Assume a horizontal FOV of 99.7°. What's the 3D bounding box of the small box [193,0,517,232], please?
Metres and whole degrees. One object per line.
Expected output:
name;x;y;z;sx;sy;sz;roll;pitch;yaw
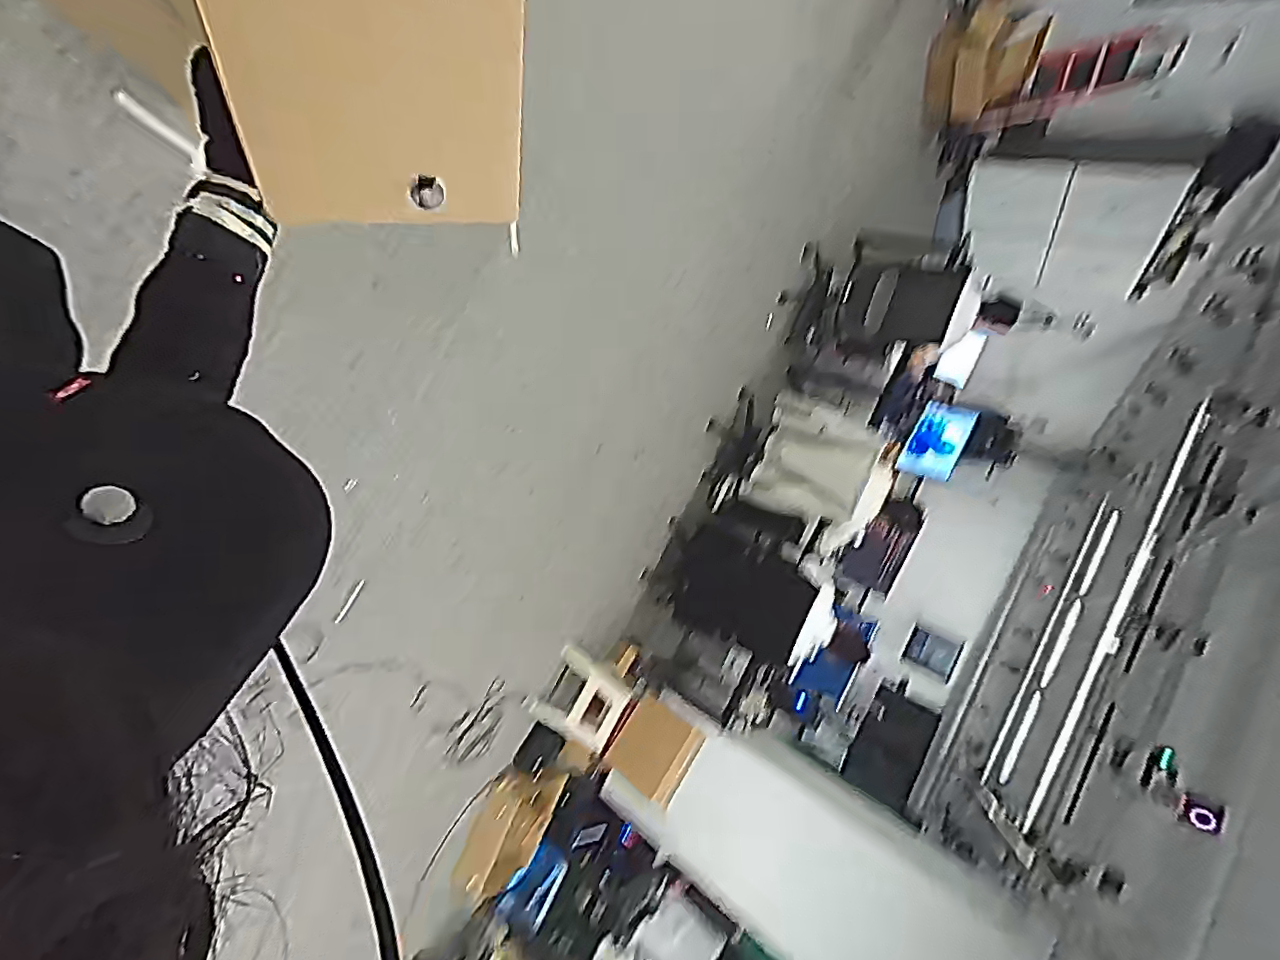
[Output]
small box;-0.181;-0.292;0.359;0.168;0.179;0.176;-10;145;-23
